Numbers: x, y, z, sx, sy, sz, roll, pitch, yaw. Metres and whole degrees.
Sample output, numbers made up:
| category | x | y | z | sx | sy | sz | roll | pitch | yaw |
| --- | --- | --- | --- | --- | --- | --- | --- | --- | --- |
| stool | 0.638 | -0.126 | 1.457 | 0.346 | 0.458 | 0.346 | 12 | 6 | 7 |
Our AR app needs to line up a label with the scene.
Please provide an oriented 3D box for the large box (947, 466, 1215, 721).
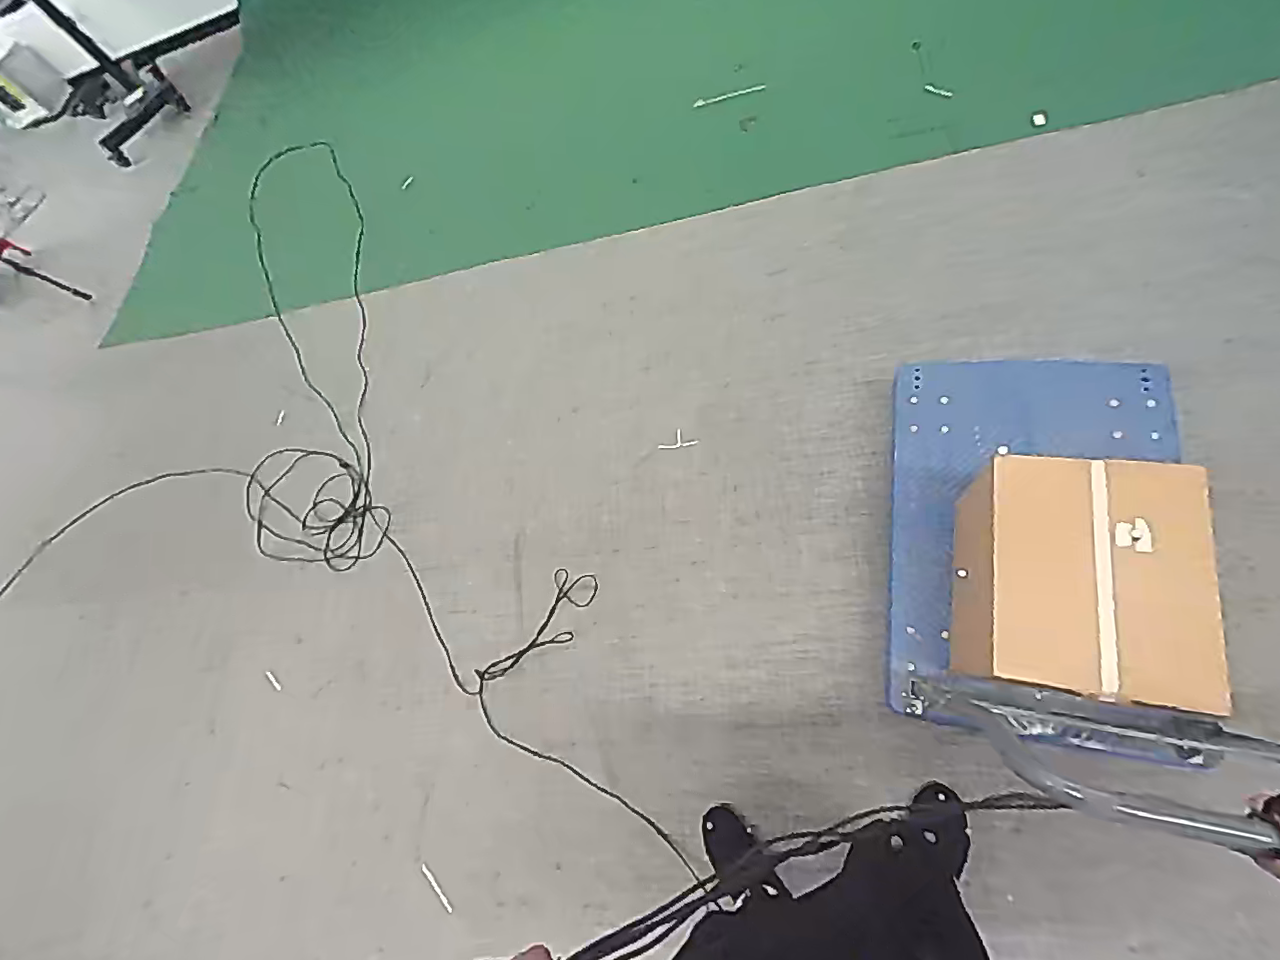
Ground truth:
| category | x | y | z | sx | sy | sz | roll | pitch | yaw |
| --- | --- | --- | --- | --- | --- | --- | --- | --- | --- |
| large box | 0.808 | 0.223 | 1.059 | 0.320 | 0.320 | 0.408 | 6 | 72 | 19 |
